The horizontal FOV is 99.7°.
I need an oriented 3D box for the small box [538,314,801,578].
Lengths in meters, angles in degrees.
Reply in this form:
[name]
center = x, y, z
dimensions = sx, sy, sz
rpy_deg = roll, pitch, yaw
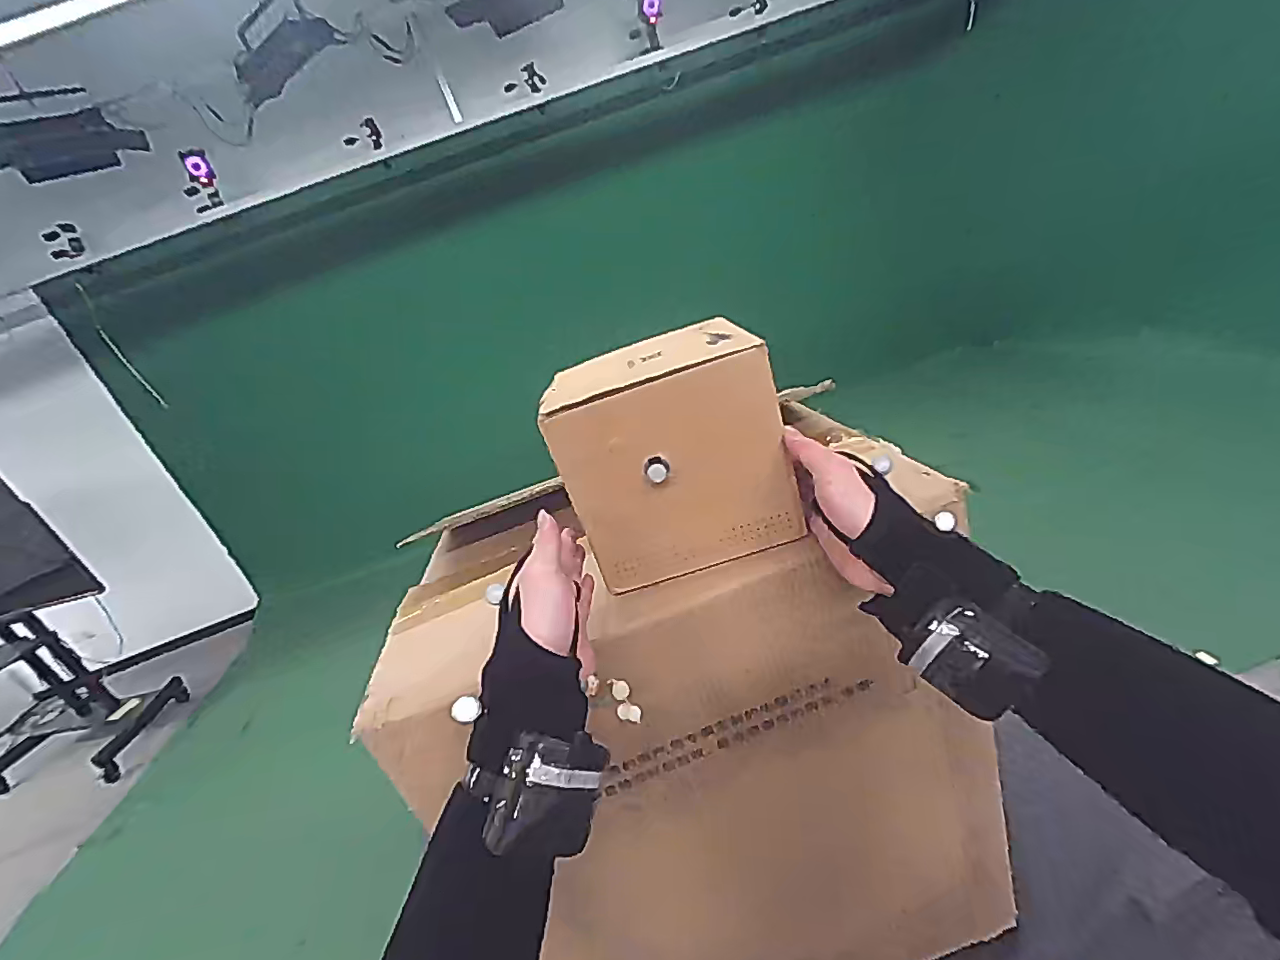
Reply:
[small box]
center = 0.027, -0.035, 0.498
dimensions = 0.179, 0.176, 0.168
rpy_deg = -18, 23, 4
